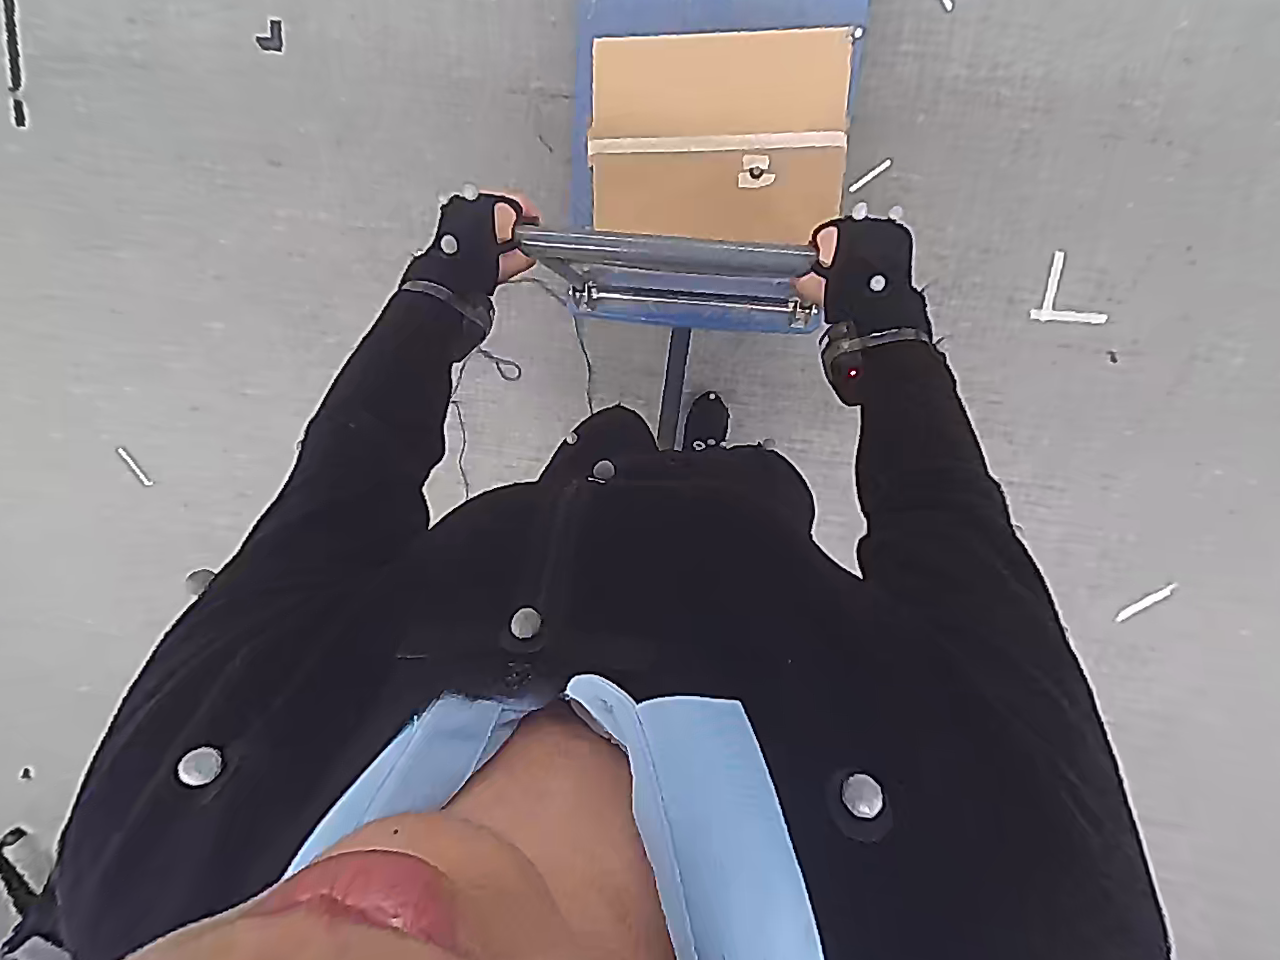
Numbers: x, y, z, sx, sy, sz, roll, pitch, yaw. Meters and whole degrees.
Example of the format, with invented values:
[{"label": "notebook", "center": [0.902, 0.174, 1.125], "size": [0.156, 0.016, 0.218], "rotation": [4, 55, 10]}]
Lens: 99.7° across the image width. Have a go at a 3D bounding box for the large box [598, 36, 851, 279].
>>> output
[{"label": "large box", "center": [0.141, -0.570, 1.027], "size": [0.408, 0.320, 0.320], "rotation": [2, 103, 5]}]
